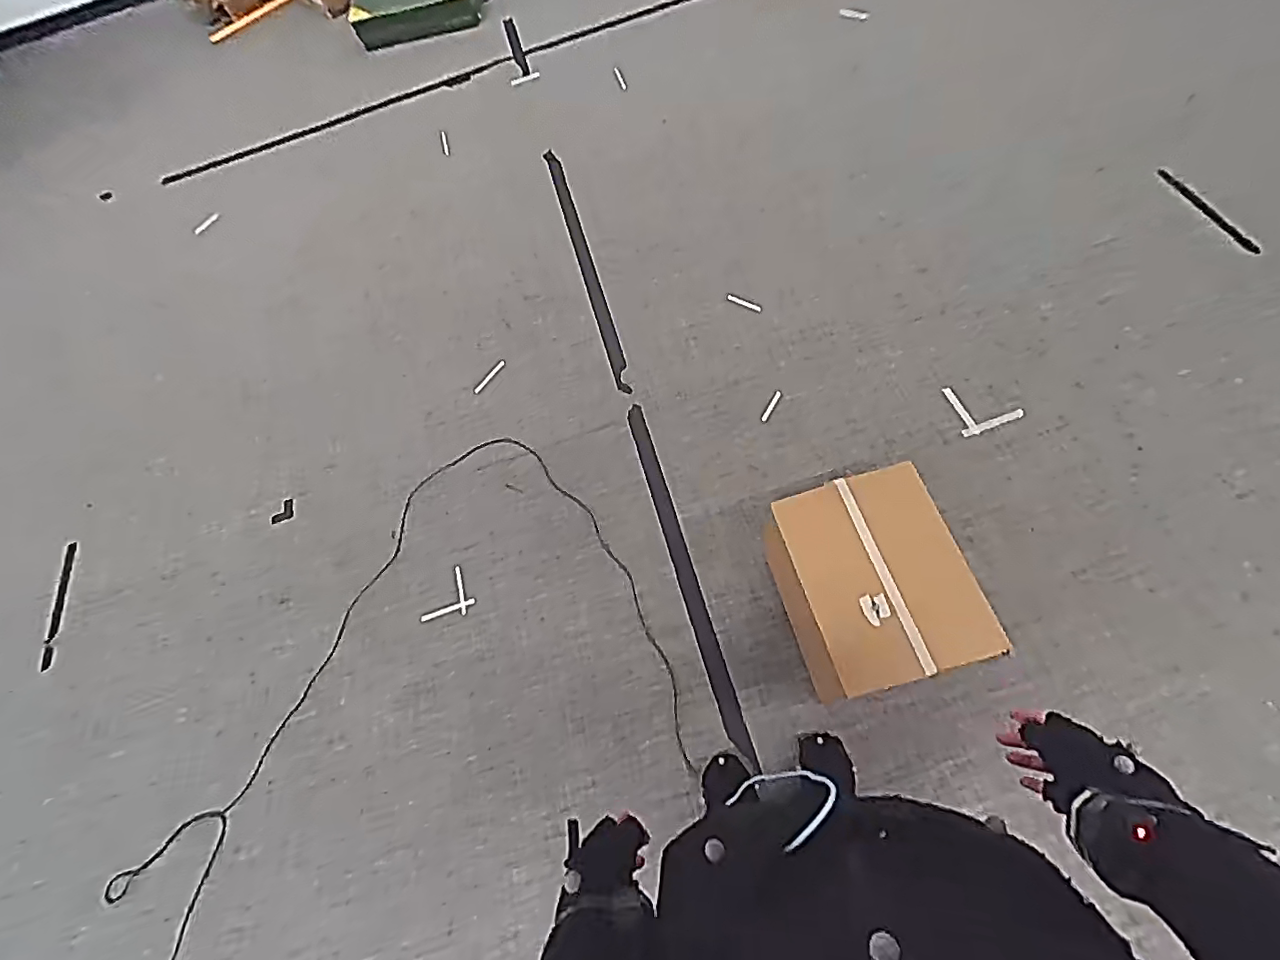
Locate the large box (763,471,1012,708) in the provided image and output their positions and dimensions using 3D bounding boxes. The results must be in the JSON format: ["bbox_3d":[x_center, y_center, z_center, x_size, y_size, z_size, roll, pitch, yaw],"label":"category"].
[{"bbox_3d":[0.496,0.253,1.197,0.320,0.320,0.408,-18,65,2],"label":"large box"}]
